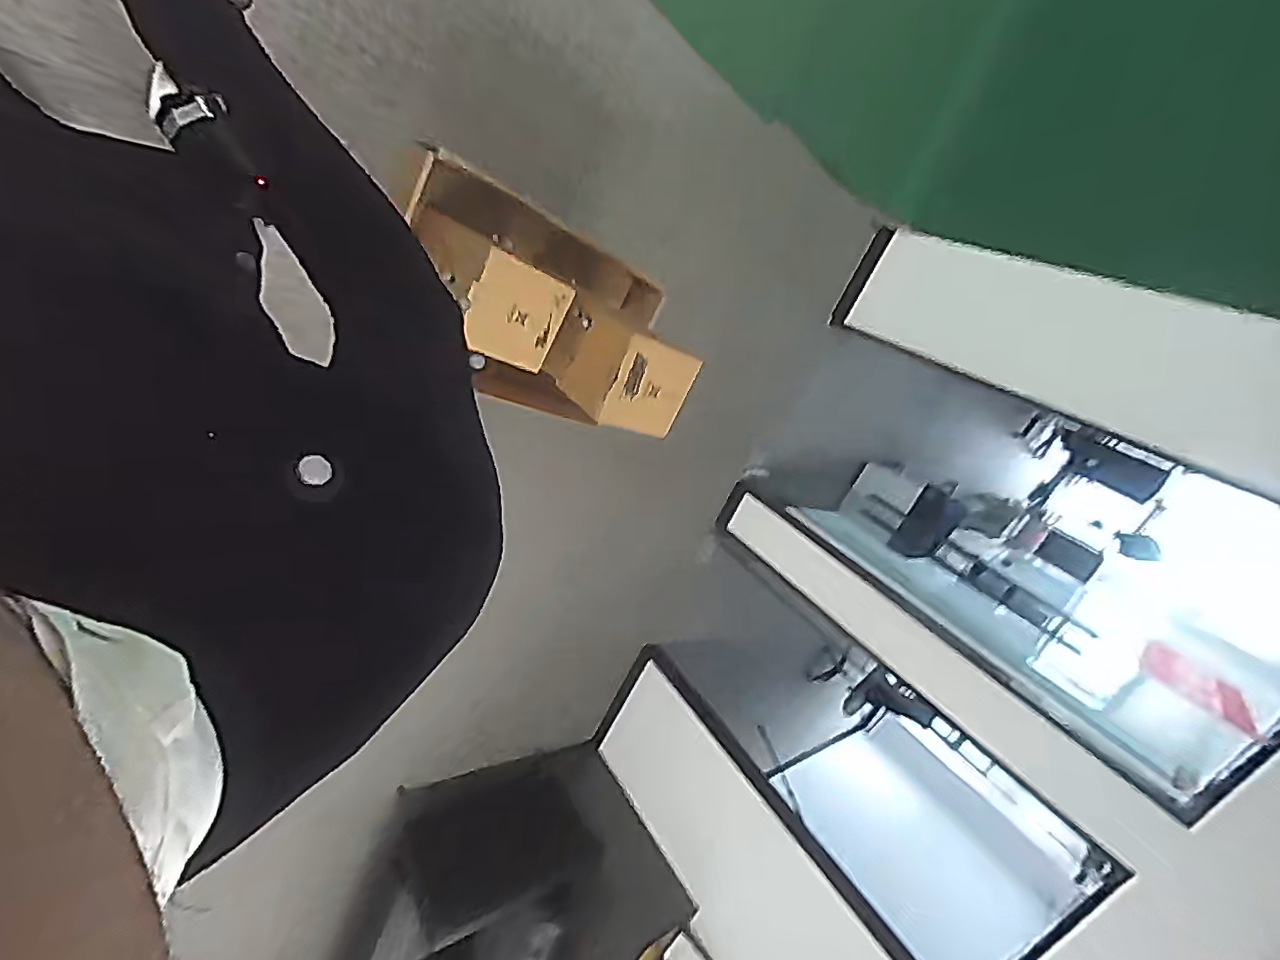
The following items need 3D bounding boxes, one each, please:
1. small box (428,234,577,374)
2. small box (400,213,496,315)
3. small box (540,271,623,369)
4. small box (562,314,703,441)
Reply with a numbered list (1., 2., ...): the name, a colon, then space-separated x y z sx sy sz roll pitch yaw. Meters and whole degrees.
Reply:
1. small box: -0.252 -0.318 0.970 0.179 0.176 0.168 14 112 -46
2. small box: -0.345 -0.402 1.074 0.179 0.176 0.168 13 112 -47
3. small box: -0.177 -0.364 1.260 0.179 0.176 0.168 13 113 -43
4. small box: -0.021 -0.197 1.023 0.179 0.176 0.168 10 115 -43
